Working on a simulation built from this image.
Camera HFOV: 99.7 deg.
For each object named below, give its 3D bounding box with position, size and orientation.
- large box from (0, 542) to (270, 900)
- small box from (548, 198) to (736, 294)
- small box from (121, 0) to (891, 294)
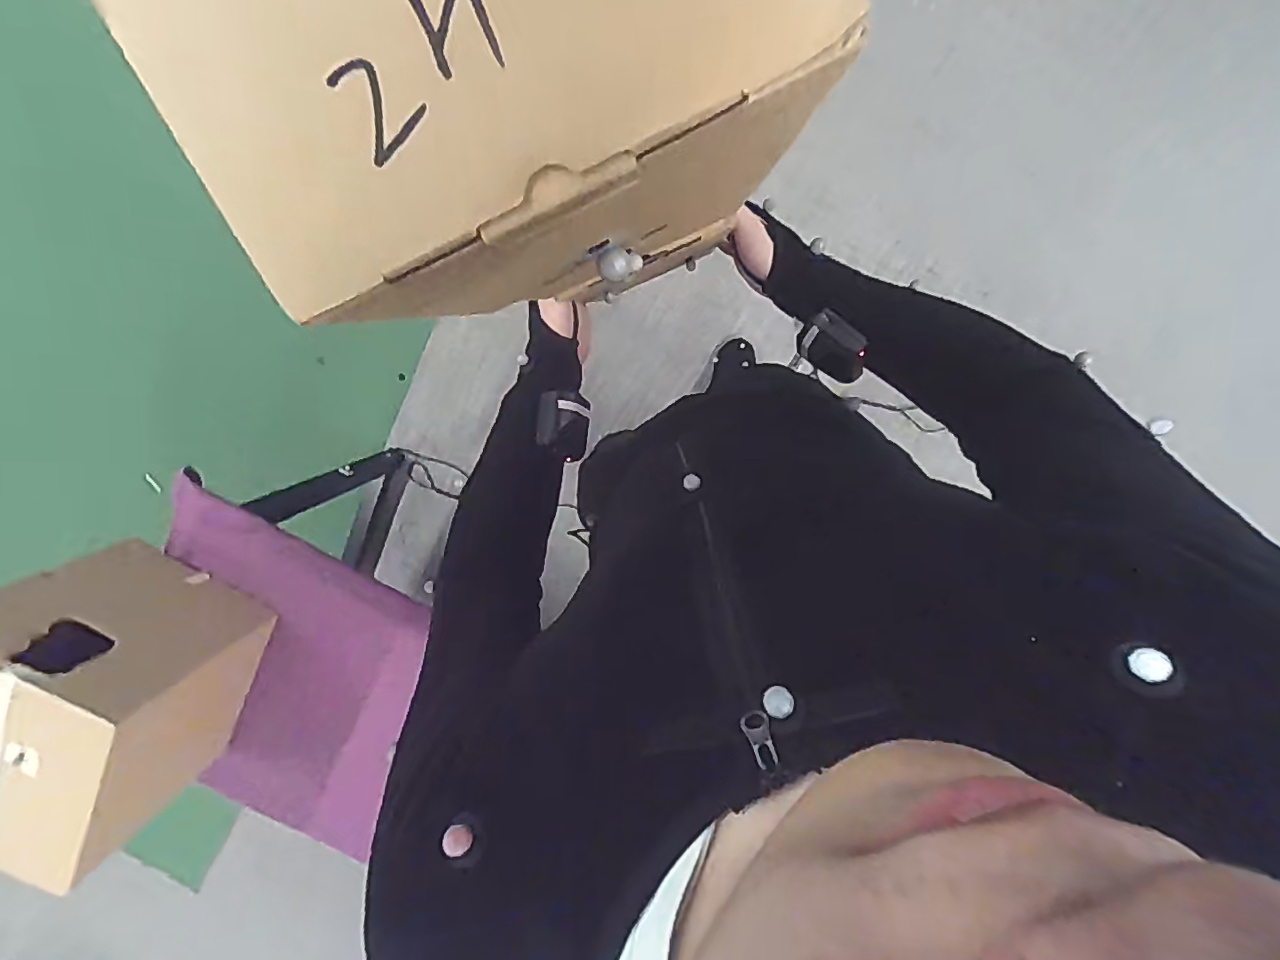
[{"bbox_3d":[-0.937,0.388,0.936,0.320,0.320,0.408,29,105,-4],"label":"large box"},{"bbox_3d":[-0.021,-0.285,0.496,0.168,0.176,0.179,-19,106,8],"label":"small box"},{"bbox_3d":[-0.046,-0.177,0.186,0.168,0.176,0.179,-20,106,10],"label":"small box"}]
